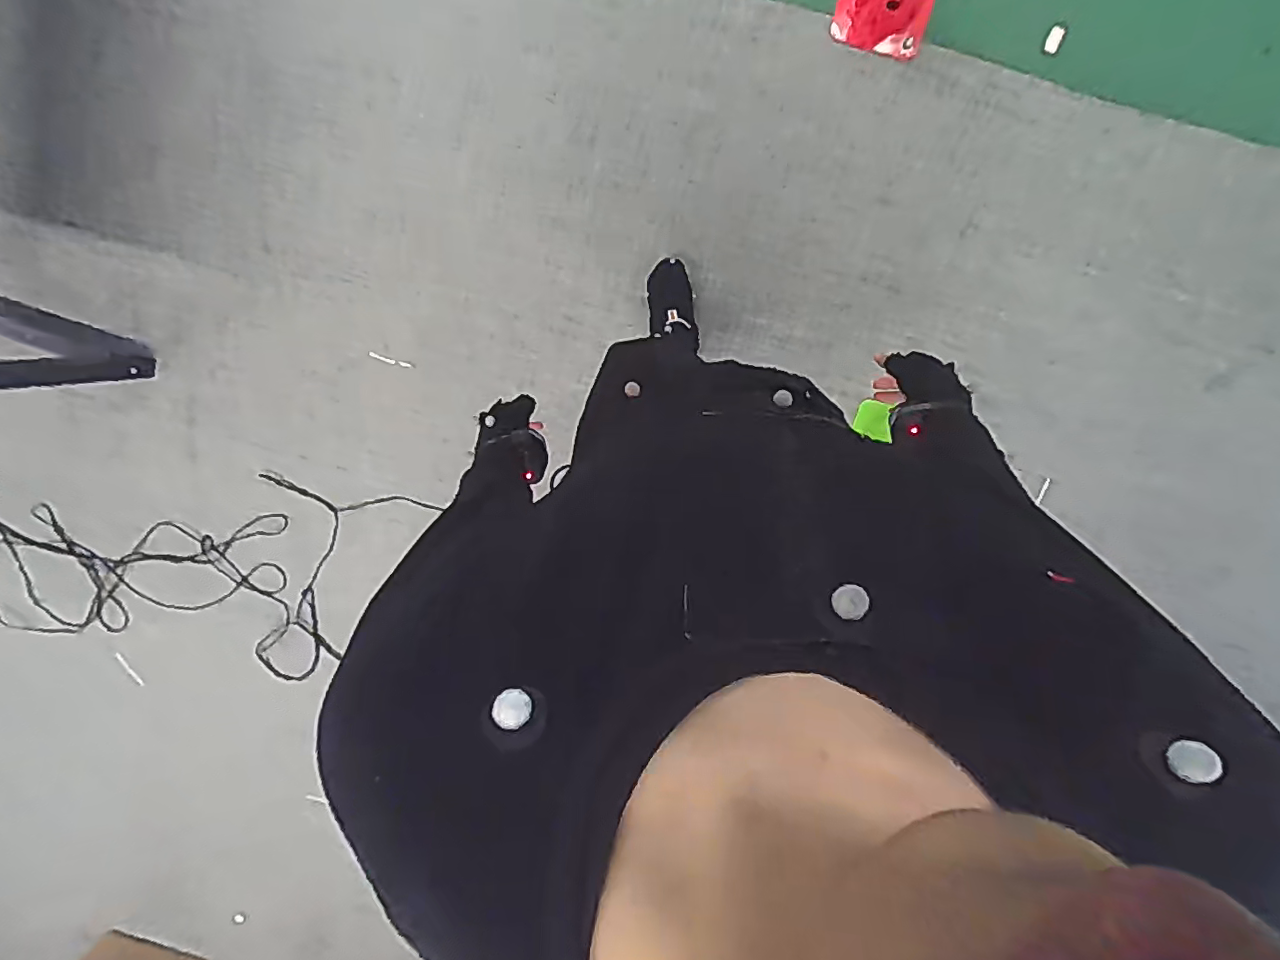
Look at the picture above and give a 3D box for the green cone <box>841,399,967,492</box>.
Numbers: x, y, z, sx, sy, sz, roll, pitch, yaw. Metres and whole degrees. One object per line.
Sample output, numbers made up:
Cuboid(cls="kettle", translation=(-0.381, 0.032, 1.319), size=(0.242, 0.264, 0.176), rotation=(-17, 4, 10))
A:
Cuboid(cls="green cone", translation=(0.628, -0.048, 1.224), size=(0.200, 0.368, 0.202), rotation=(14, 106, 0))
